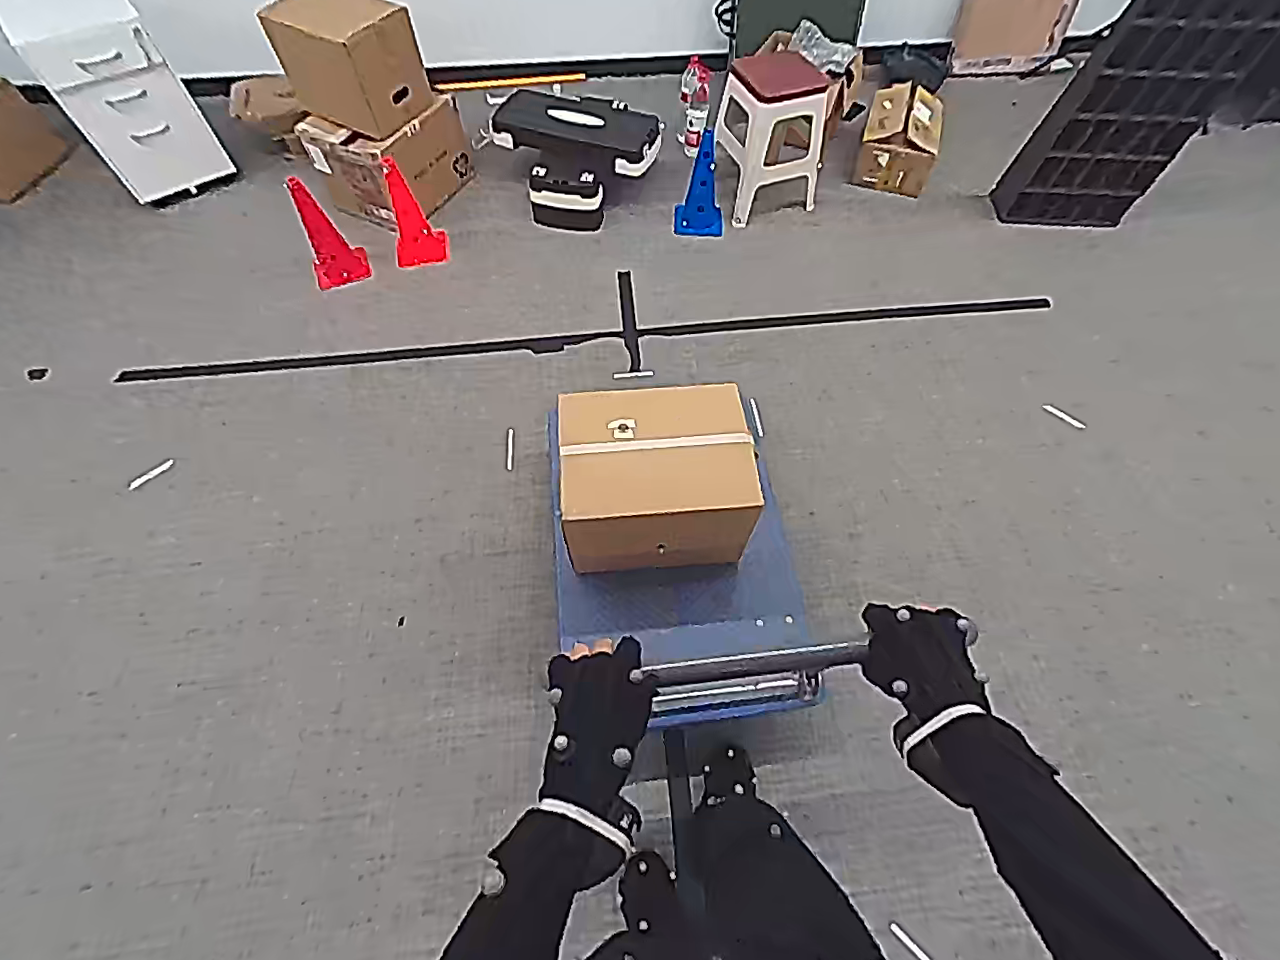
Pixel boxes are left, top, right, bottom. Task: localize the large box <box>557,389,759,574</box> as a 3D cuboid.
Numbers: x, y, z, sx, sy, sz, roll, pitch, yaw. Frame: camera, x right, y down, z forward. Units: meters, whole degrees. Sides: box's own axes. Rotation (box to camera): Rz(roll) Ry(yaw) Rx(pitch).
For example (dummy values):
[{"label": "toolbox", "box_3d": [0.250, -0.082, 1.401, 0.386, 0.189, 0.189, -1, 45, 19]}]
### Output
[{"label": "large box", "box_3d": [0.029, 0.016, 1.275, 0.408, 0.320, 0.320, -5, 61, -2]}]
